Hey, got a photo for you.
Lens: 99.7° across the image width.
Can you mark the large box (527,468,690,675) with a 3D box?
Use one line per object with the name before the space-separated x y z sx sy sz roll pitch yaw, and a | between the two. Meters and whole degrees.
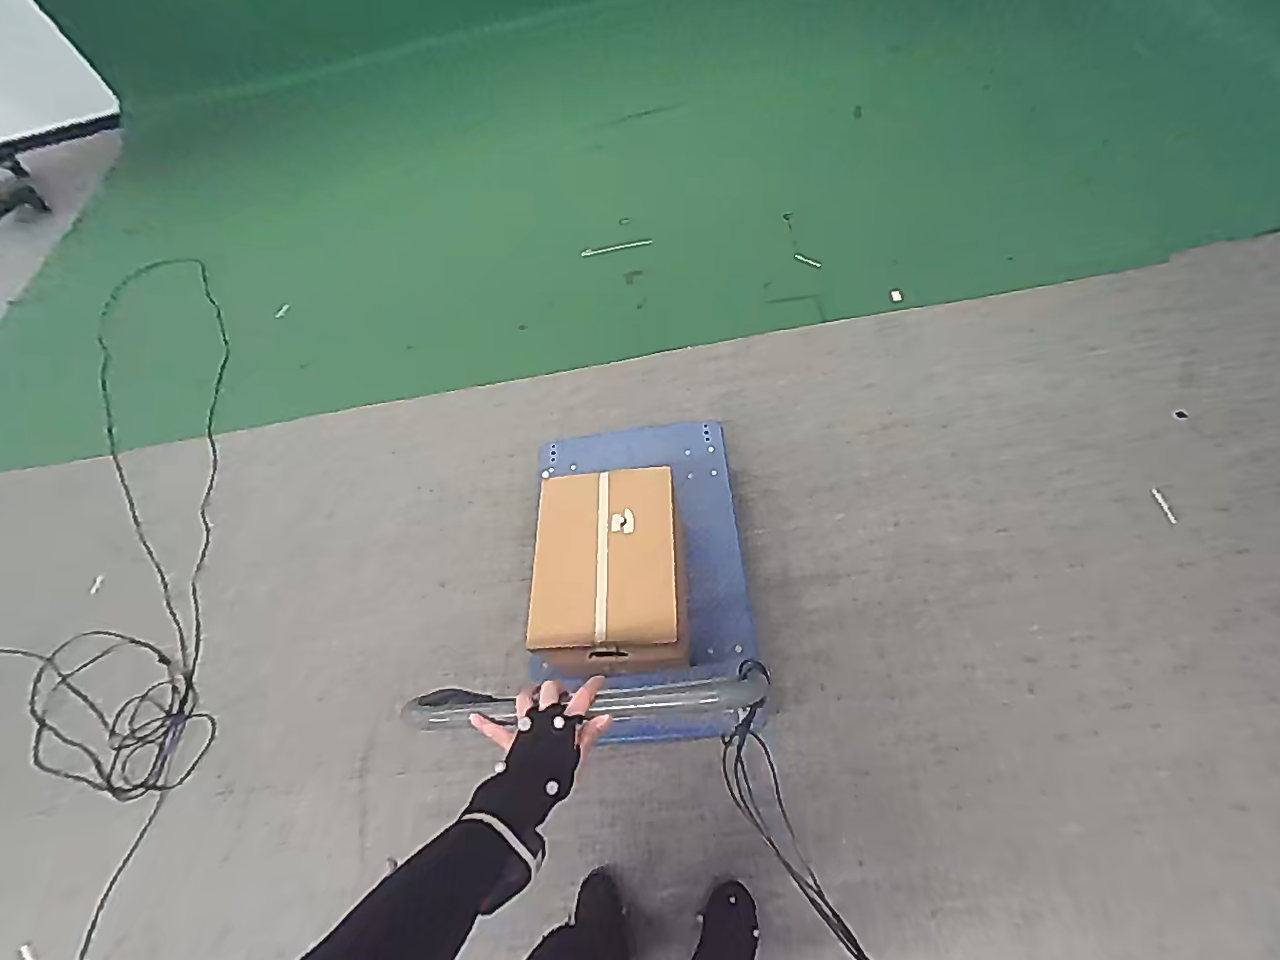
large box | -0.056 0.229 1.292 0.320 0.320 0.408 -4 60 8
